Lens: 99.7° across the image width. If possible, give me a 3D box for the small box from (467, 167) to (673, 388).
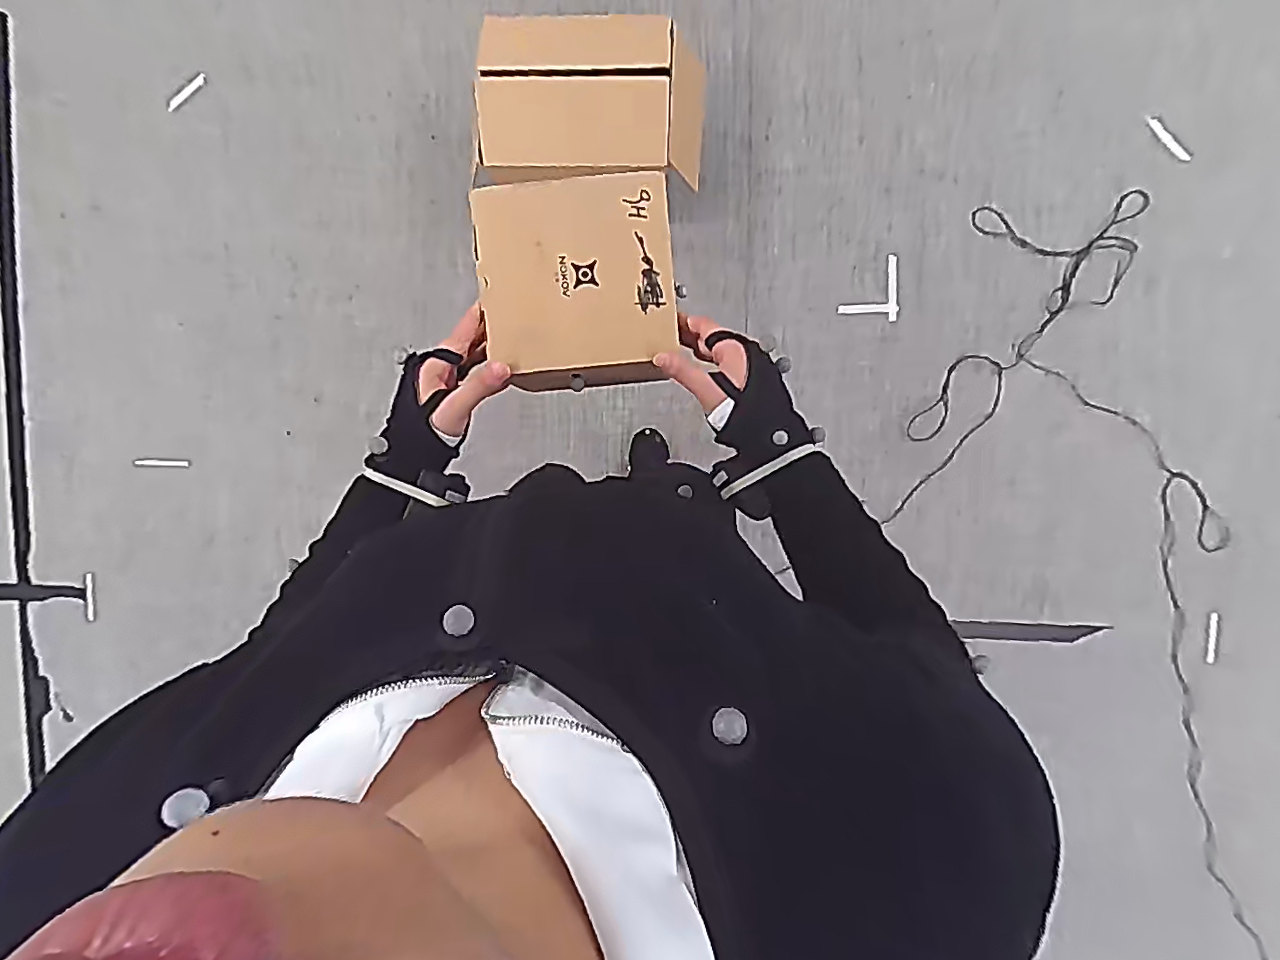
[{"bbox_3d":[-0.060,-0.192,0.563,0.179,0.176,0.168,-5,93,1],"label":"small box"}]
